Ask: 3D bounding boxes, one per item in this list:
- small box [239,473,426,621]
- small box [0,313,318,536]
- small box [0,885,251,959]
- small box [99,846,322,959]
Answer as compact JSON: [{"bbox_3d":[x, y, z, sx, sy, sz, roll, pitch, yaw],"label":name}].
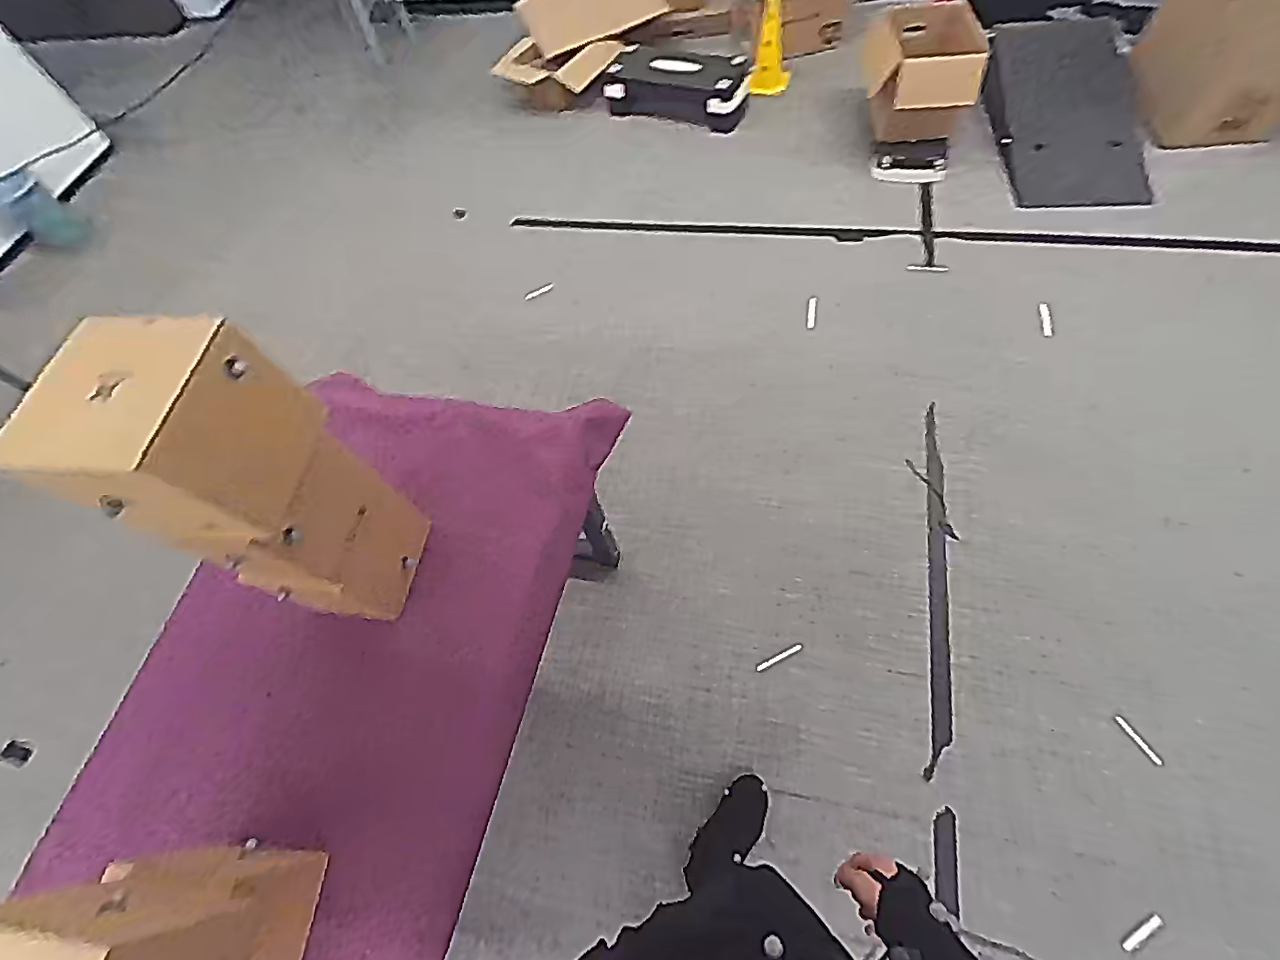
[{"bbox_3d":[-0.465,0.109,0.855,0.168,0.176,0.179,4,63,10],"label":"small box"},{"bbox_3d":[-0.482,-0.050,0.568,0.168,0.176,0.179,2,63,8],"label":"small box"},{"bbox_3d":[-0.507,0.480,0.477,0.179,0.176,0.168,2,63,8],"label":"small box"},{"bbox_3d":[-0.513,0.548,0.629,0.168,0.176,0.179,0,62,7],"label":"small box"}]
